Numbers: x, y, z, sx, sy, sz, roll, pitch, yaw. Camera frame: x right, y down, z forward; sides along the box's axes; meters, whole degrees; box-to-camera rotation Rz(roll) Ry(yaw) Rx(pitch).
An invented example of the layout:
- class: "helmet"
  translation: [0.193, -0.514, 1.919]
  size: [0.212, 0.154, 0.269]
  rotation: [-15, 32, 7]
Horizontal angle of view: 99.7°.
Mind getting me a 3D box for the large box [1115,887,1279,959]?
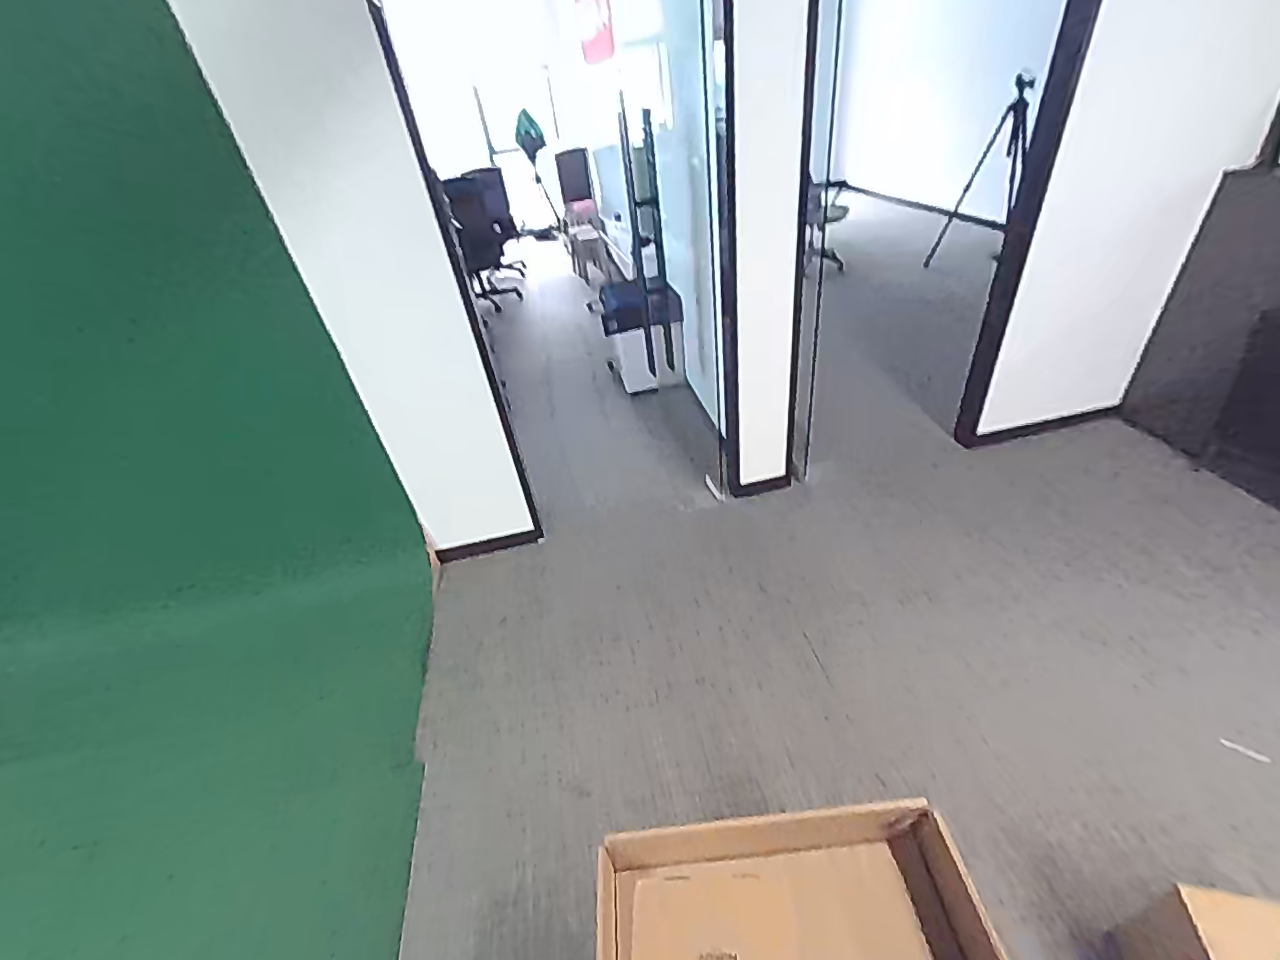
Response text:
- class: "large box"
  translation: [1.200, 0.994, 0.962]
  size: [0.408, 0.320, 0.320]
  rotation: [2, 37, 15]
